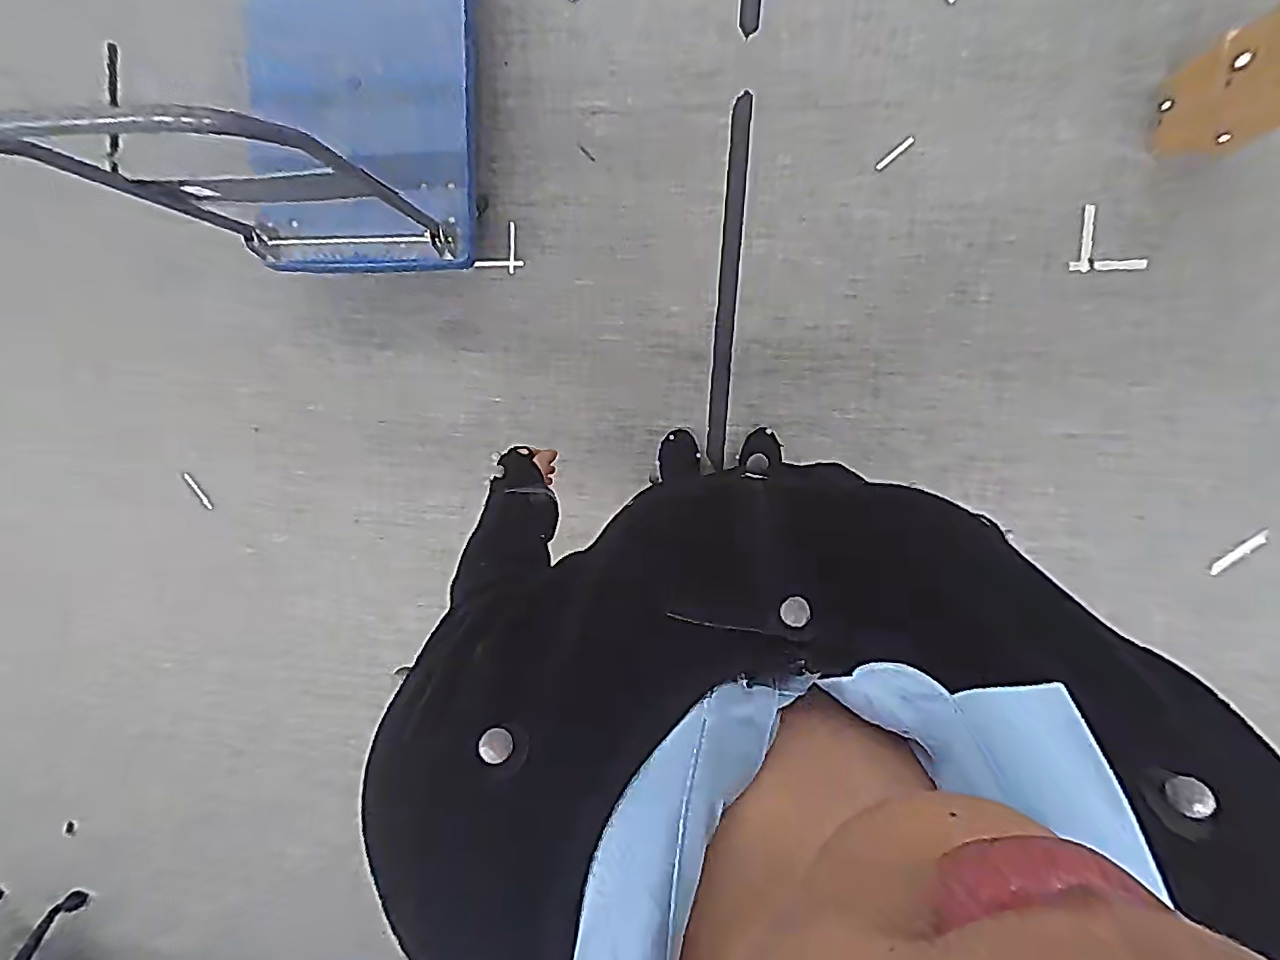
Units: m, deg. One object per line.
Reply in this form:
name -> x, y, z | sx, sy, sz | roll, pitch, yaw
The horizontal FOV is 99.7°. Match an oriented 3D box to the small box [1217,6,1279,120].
small box -> 1.279, -0.814, 1.023 | 0.179, 0.176, 0.168 | 8, 96, 7
